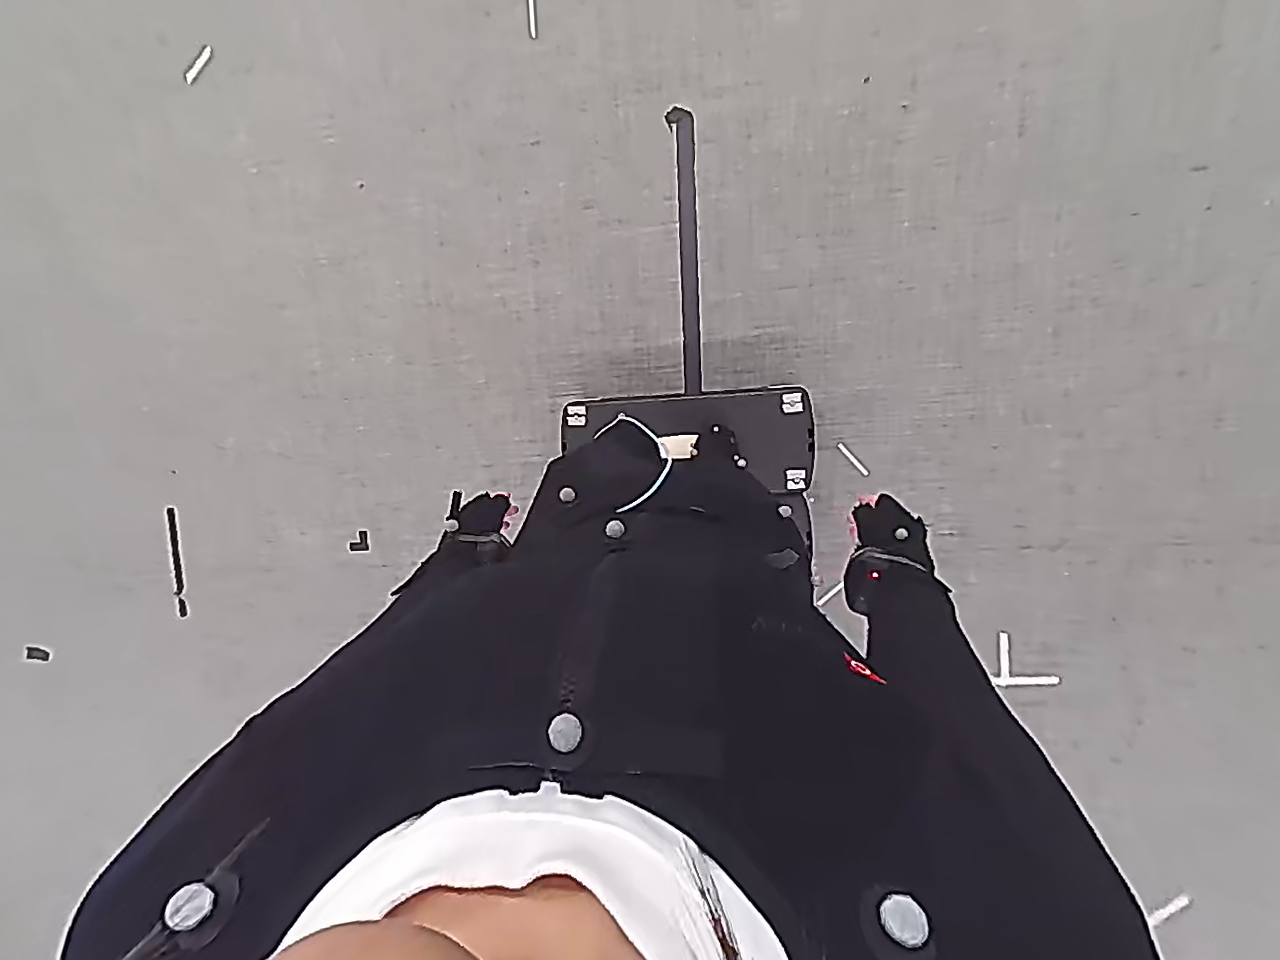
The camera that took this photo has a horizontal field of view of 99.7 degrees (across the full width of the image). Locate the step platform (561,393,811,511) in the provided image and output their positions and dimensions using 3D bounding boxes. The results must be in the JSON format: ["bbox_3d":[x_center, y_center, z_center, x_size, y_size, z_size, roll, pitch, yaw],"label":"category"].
[{"bbox_3d":[0.123,-0.076,1.513,0.684,0.204,0.286,-4,97,8],"label":"step platform"}]
